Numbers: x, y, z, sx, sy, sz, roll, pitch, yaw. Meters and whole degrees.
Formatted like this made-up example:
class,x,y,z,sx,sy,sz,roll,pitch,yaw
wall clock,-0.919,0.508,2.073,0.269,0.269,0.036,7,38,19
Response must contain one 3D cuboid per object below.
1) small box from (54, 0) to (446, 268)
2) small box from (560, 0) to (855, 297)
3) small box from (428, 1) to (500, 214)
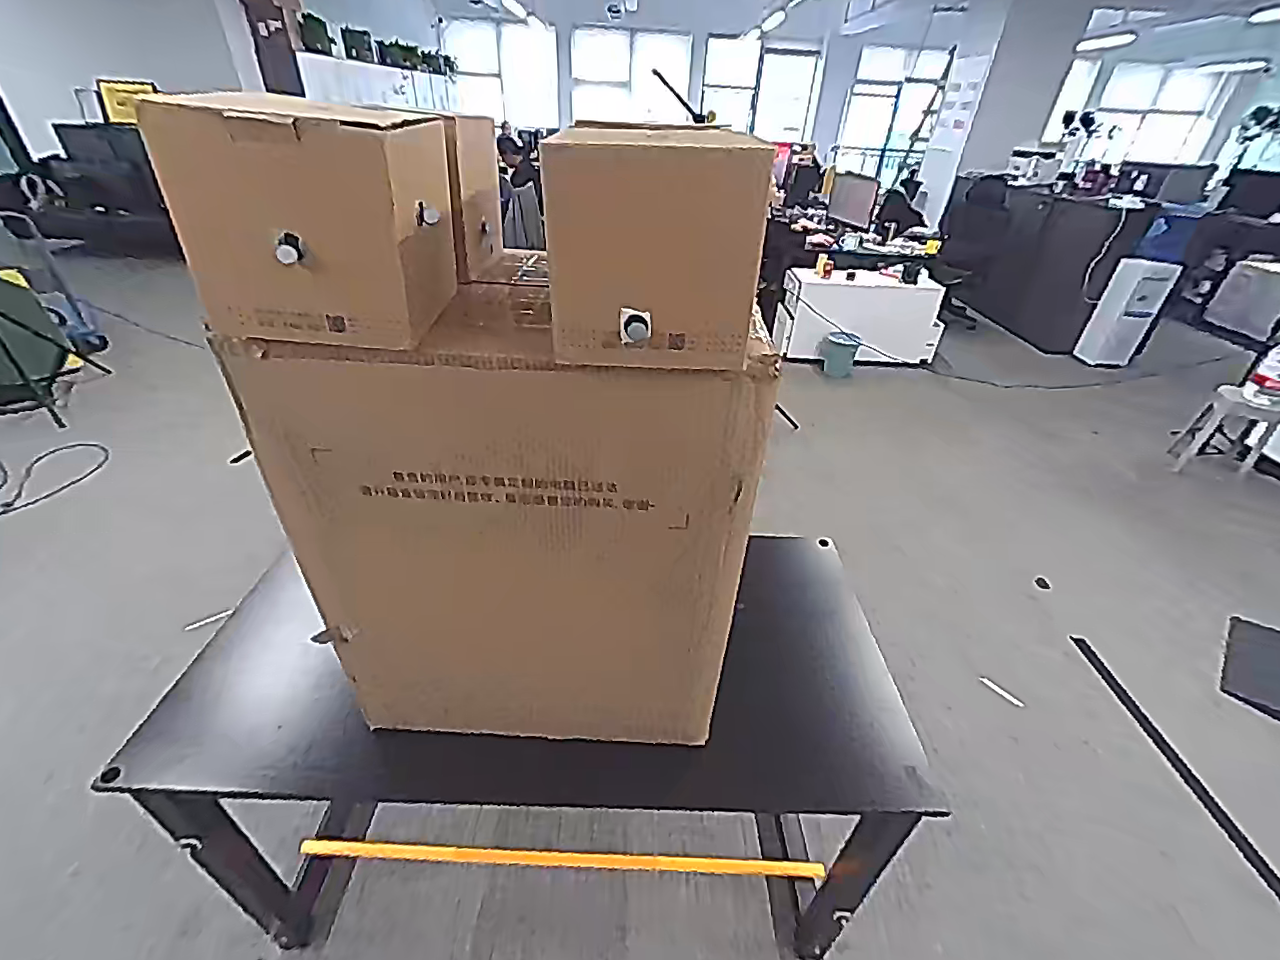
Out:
class,x,y,z,sx,sy,sz,roll,pitch,yaw
small box,-0.250,-0.270,0.402,0.168,0.176,0.179,3,37,-7
small box,0.035,-0.249,0.406,0.168,0.176,0.179,0,37,-1
small box,-0.257,-0.385,0.571,0.179,0.176,0.168,5,34,-1
